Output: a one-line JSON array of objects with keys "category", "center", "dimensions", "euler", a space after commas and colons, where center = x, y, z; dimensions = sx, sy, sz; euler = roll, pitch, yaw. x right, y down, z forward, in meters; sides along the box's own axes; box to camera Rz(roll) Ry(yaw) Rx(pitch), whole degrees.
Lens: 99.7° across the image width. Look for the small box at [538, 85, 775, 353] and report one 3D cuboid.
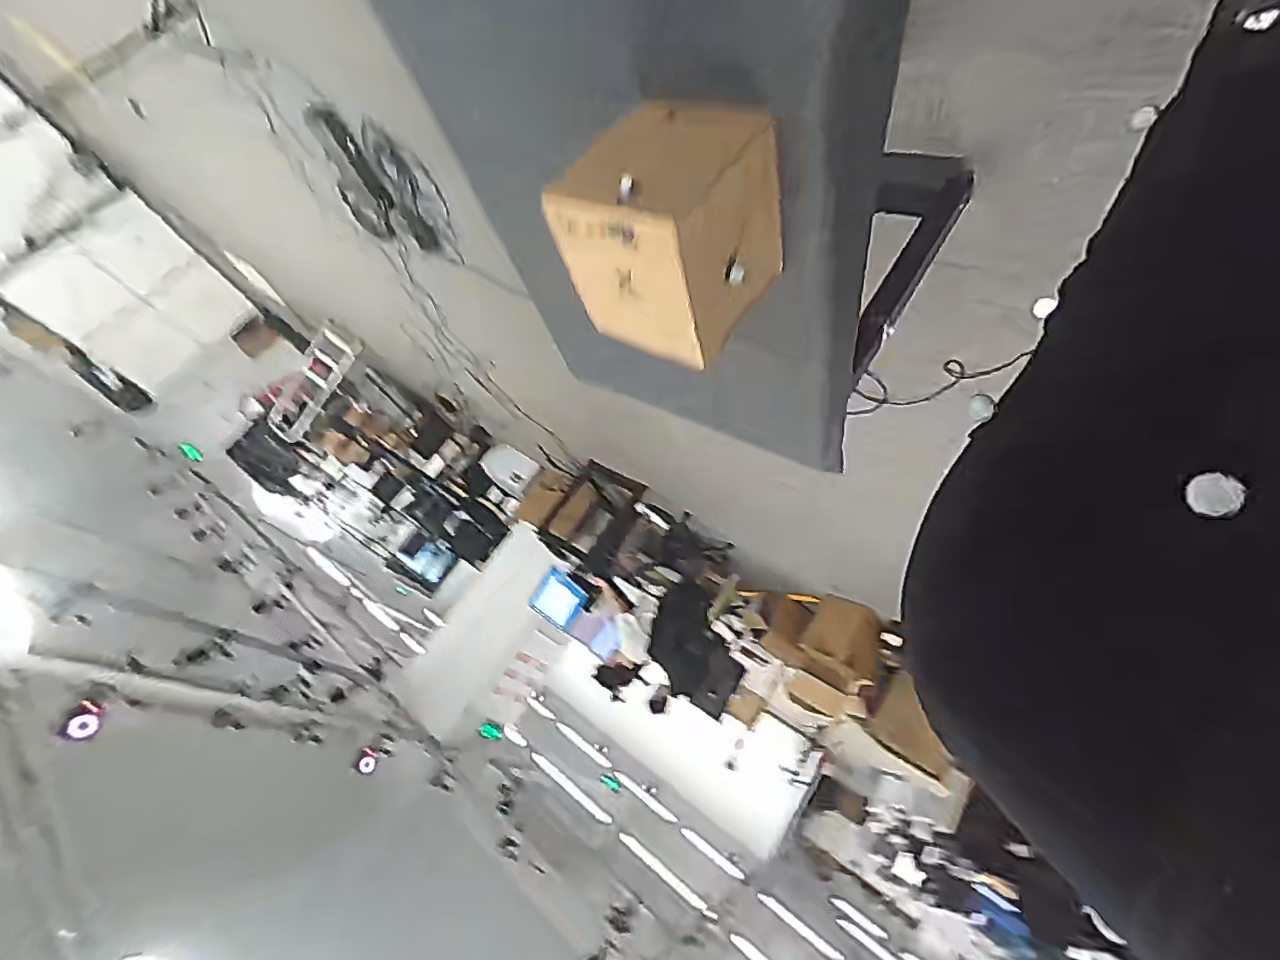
[{"category": "small box", "center": [0.031, -0.275, 0.576], "dimensions": [0.168, 0.176, 0.179], "euler": [28, 161, 29]}]
